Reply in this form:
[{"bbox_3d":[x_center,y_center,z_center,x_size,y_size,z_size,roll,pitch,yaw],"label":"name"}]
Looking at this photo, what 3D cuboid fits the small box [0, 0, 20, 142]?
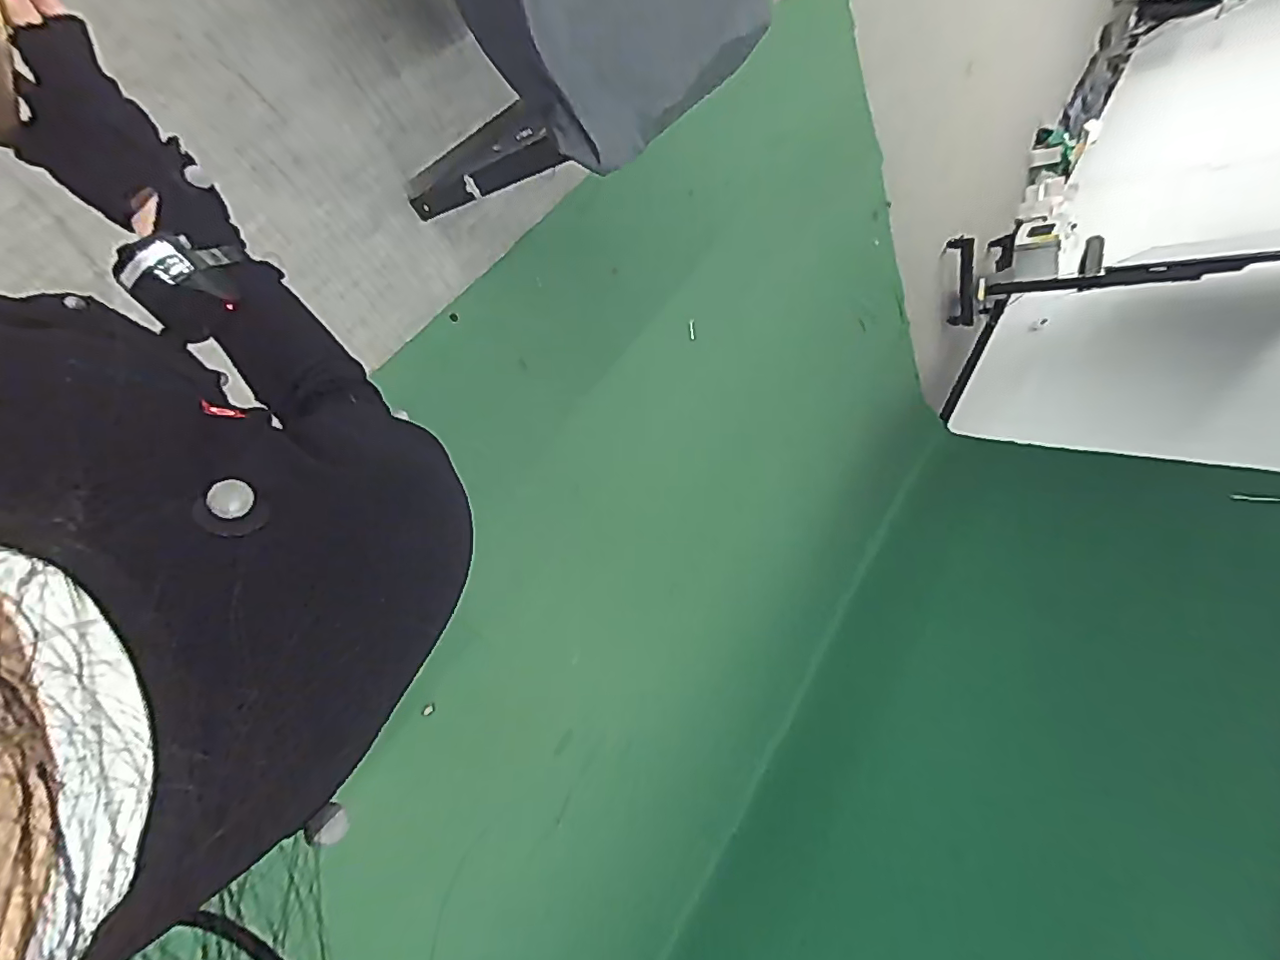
[{"bbox_3d":[-0.468,-0.325,0.288,0.168,0.176,0.179,-8,99,-46],"label":"small box"}]
